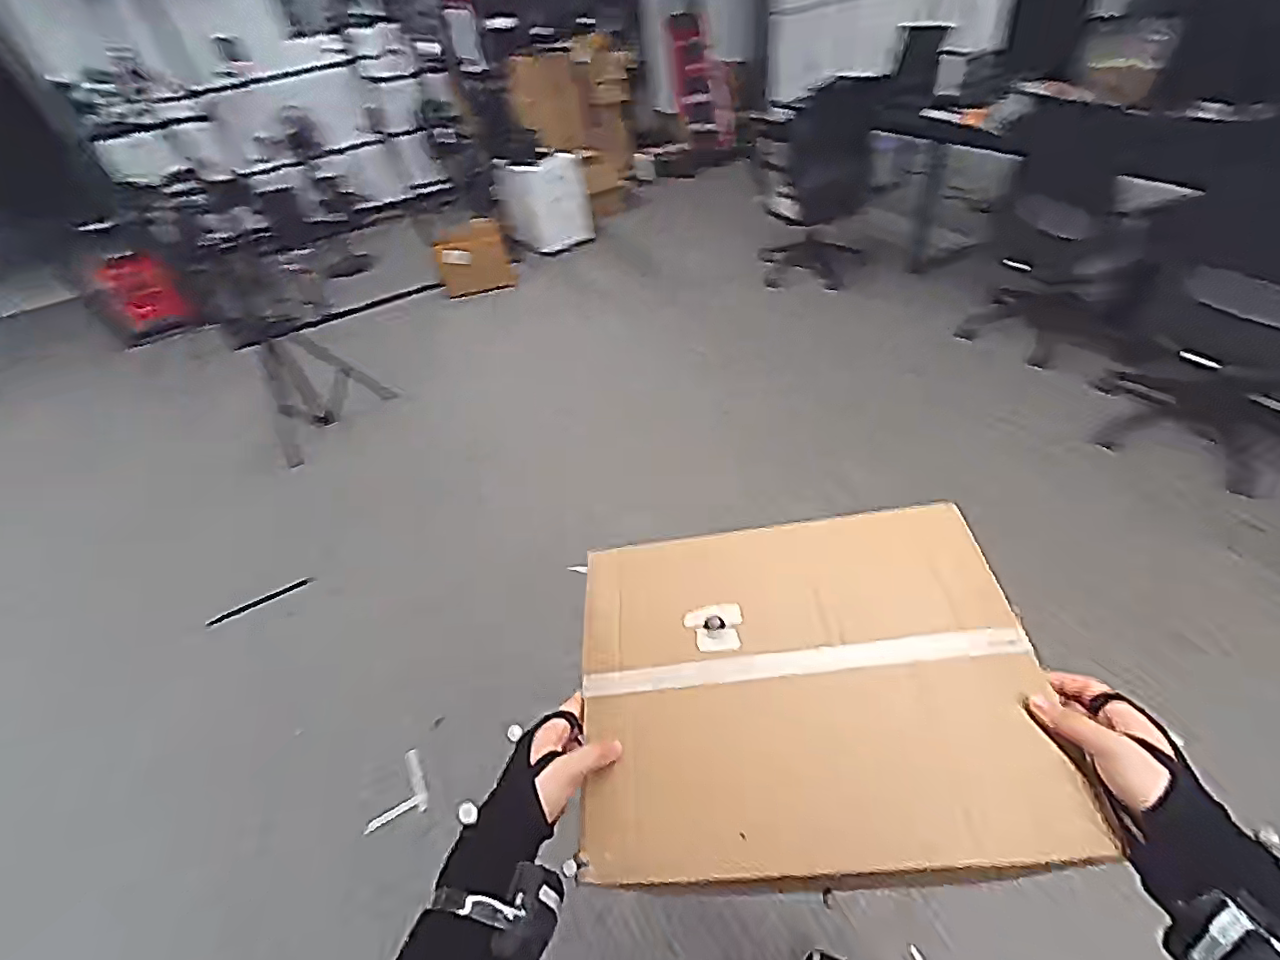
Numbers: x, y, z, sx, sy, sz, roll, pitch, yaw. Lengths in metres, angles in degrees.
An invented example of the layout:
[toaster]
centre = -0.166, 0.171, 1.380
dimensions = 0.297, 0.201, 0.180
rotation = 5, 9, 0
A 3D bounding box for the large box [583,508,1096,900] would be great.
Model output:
[large box]
centre = 0.171, 0.275, 0.628
dimensions = 0.408, 0.320, 0.320
rotation = -11, 48, 8
